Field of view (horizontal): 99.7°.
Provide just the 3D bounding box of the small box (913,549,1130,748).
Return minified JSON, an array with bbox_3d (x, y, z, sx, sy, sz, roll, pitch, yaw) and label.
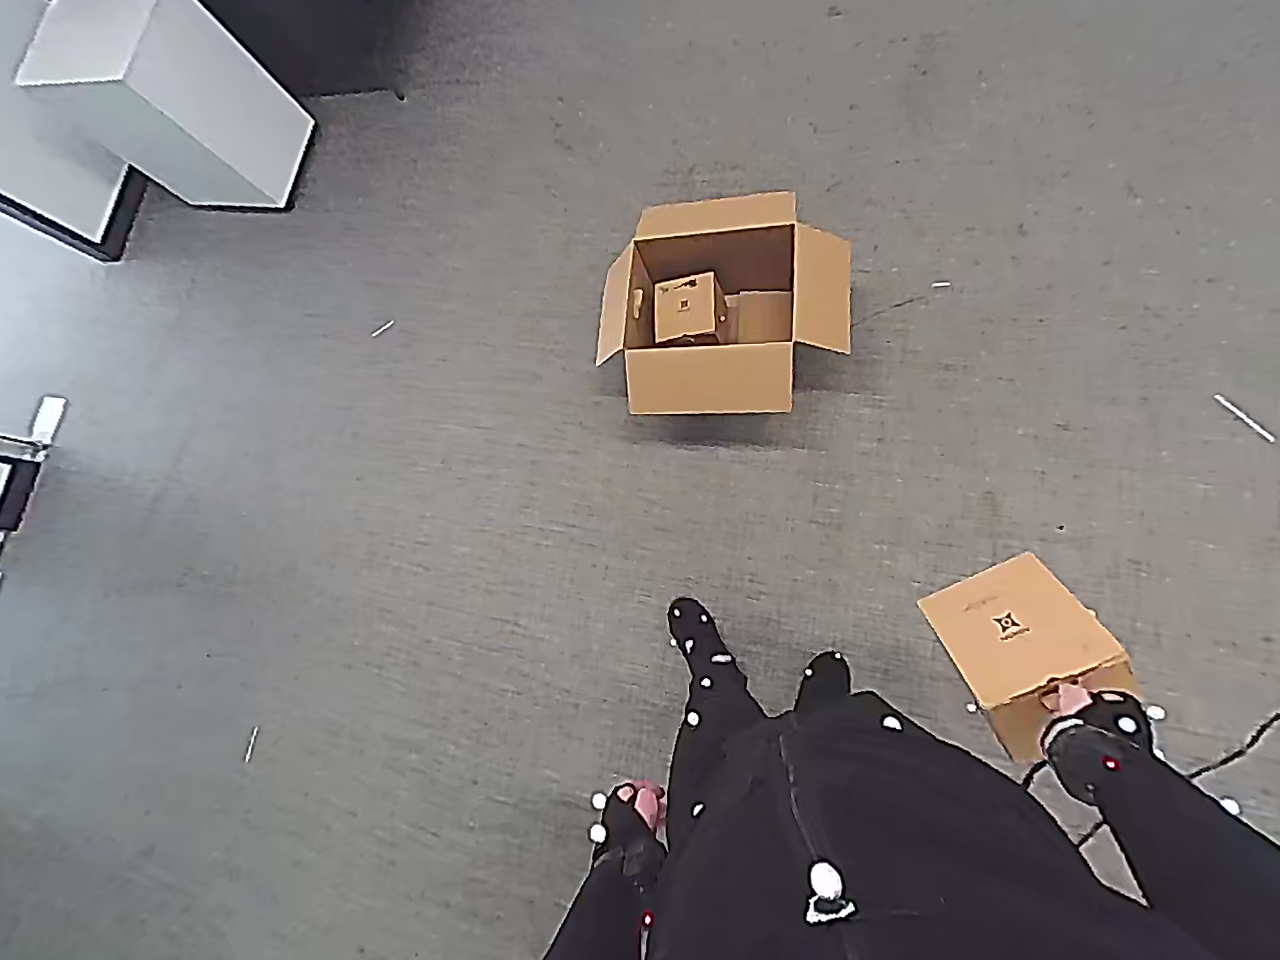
[{"bbox_3d":[0.511,0.234,0.733,0.168,0.176,0.179,-29,30,15],"label":"small box"}]
